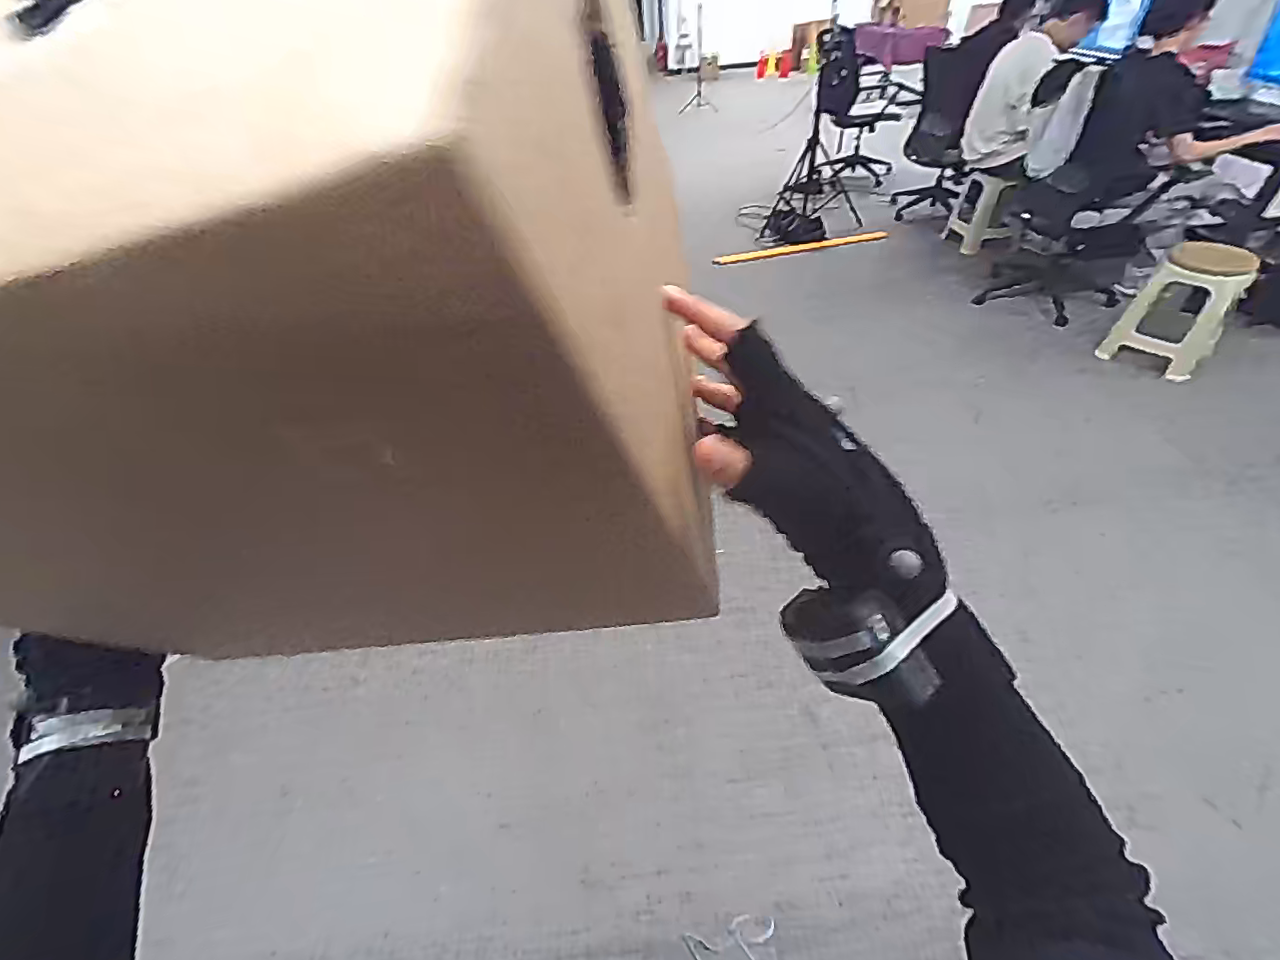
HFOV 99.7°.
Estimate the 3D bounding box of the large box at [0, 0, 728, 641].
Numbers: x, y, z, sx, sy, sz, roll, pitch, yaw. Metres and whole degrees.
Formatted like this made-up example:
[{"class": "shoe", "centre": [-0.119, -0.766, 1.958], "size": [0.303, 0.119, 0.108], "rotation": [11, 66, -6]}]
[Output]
[{"class": "large box", "centre": [-0.171, -0.096, 0.341], "size": [0.408, 0.320, 0.320], "rotation": [-8, 63, 11]}]
